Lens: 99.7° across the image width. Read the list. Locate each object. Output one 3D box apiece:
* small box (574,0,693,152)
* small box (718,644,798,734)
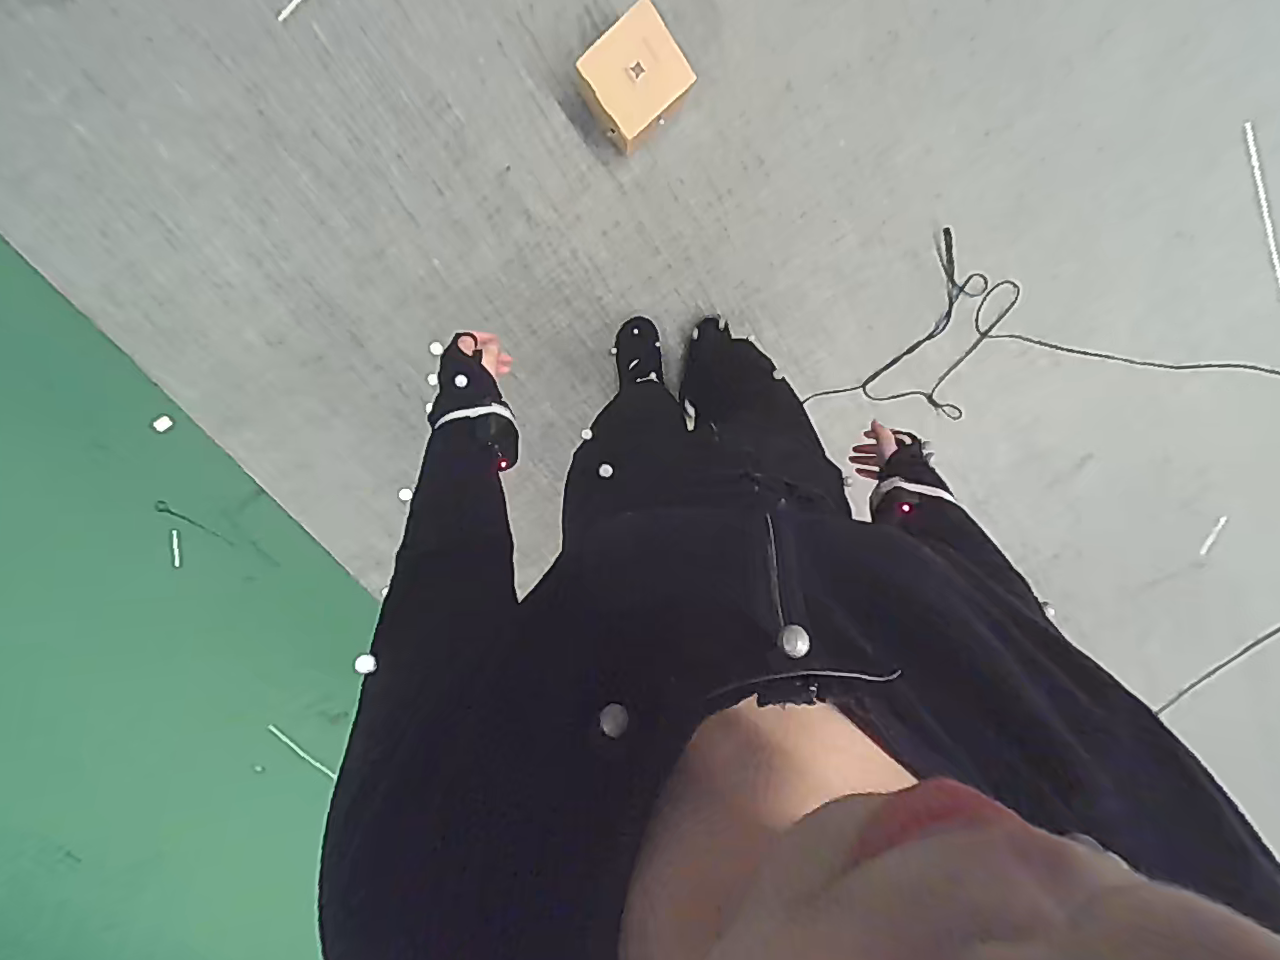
[{"bbox_3d":[-0.013,-0.816,1.115,0.179,0.176,0.168,-36,110,11],"label":"small box"},{"bbox_3d":[0.369,0.662,1.731,0.179,0.176,0.168,-34,109,11],"label":"small box"}]
